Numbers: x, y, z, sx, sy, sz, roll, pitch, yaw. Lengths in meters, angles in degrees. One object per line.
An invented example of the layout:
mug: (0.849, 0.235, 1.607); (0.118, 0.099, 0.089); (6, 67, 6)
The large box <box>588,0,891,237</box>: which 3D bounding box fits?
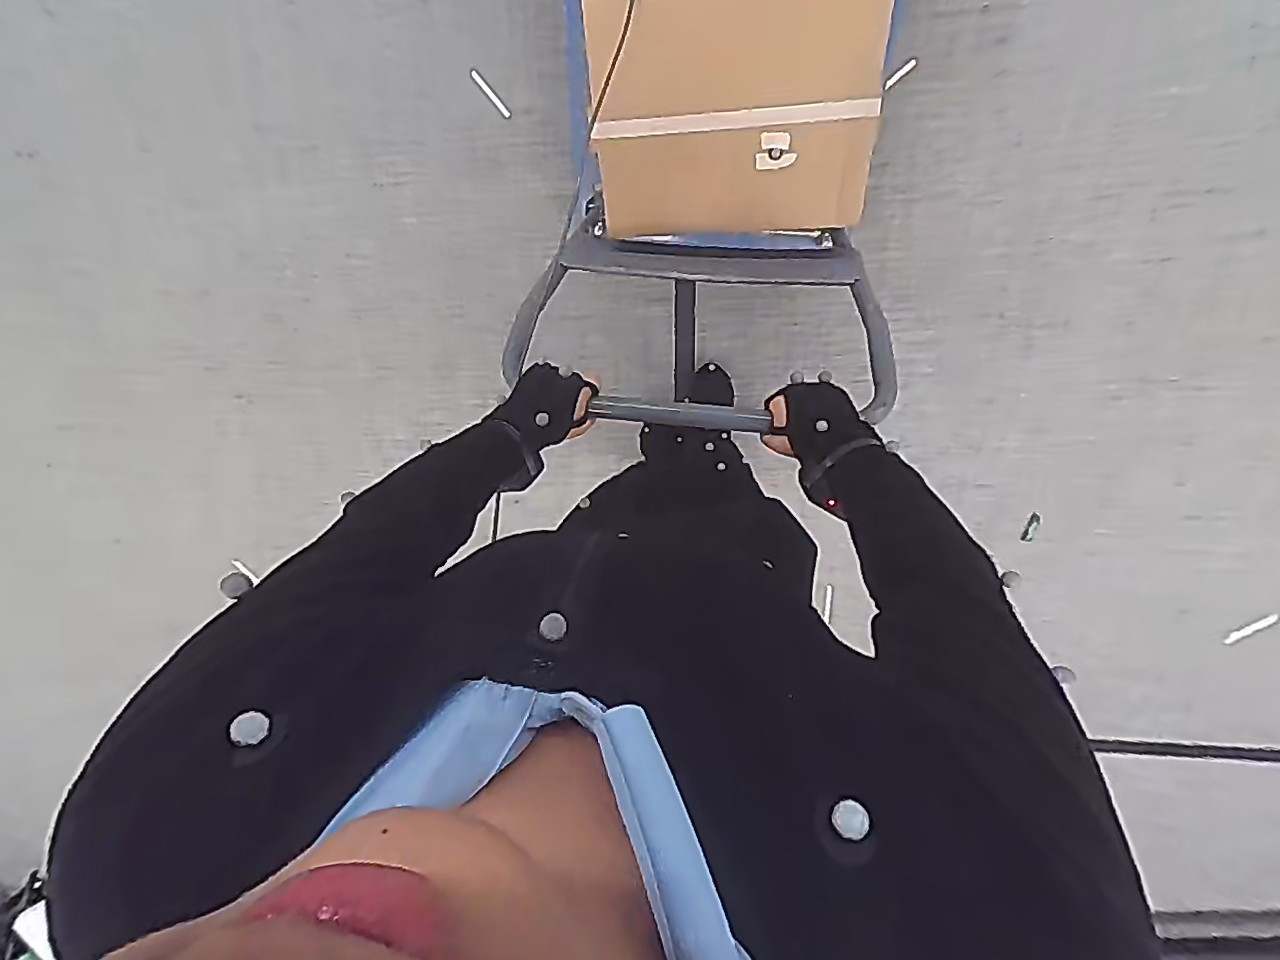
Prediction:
large box: (0.155, -0.624, 0.911); (0.408, 0.320, 0.320); (1, 129, 9)
